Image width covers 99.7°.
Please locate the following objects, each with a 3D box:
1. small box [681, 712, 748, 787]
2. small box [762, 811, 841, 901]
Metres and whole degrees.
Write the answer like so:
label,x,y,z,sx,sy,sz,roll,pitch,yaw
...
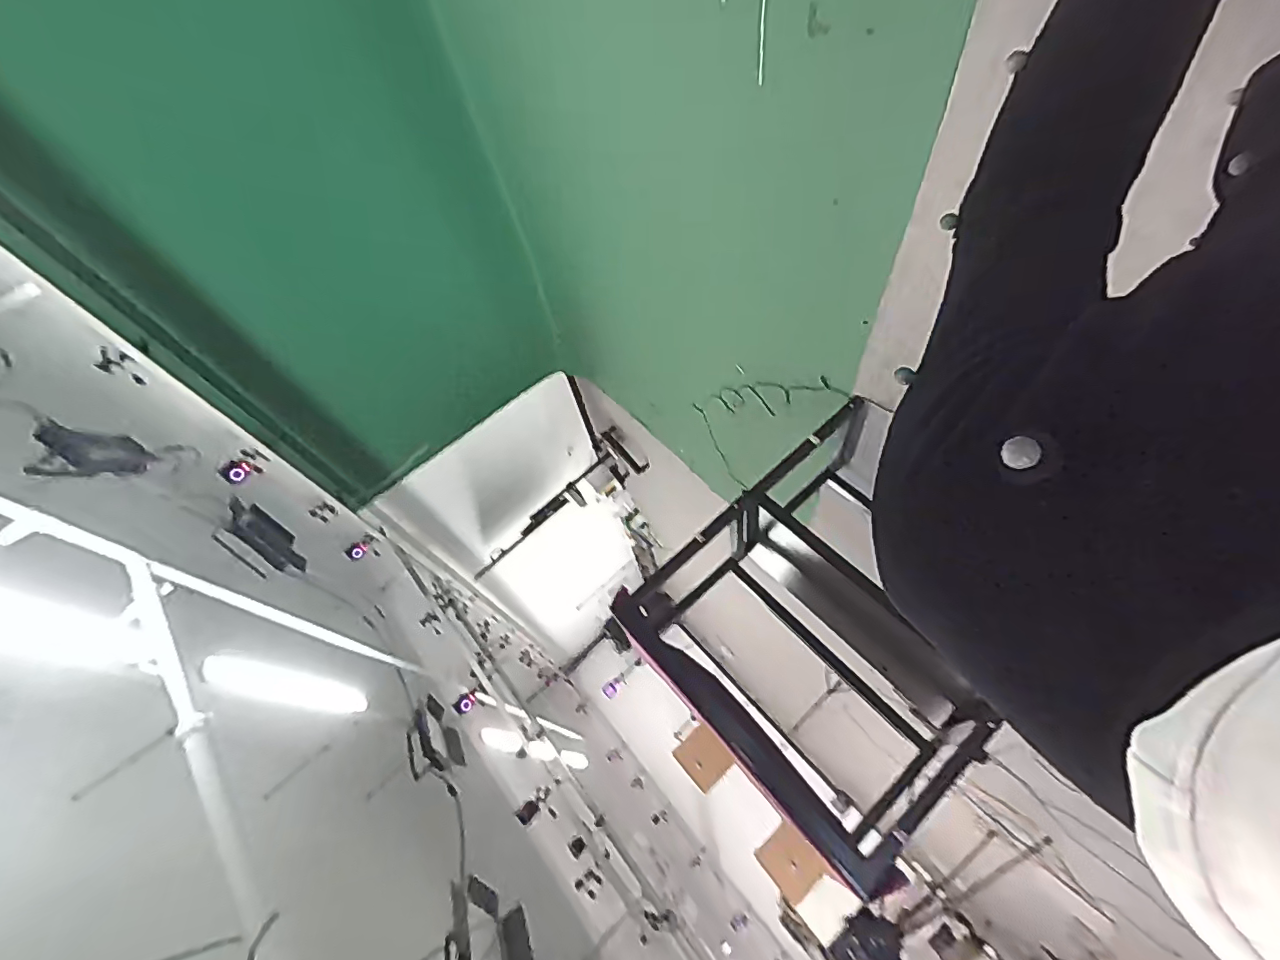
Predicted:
label,x,y,z,sx,sy,sz,roll,pitch,yaw
small box,0.271,0.968,1.941,0.179,0.176,0.168,44,166,27
small box,0.518,1.207,1.752,0.179,0.176,0.168,43,166,30
